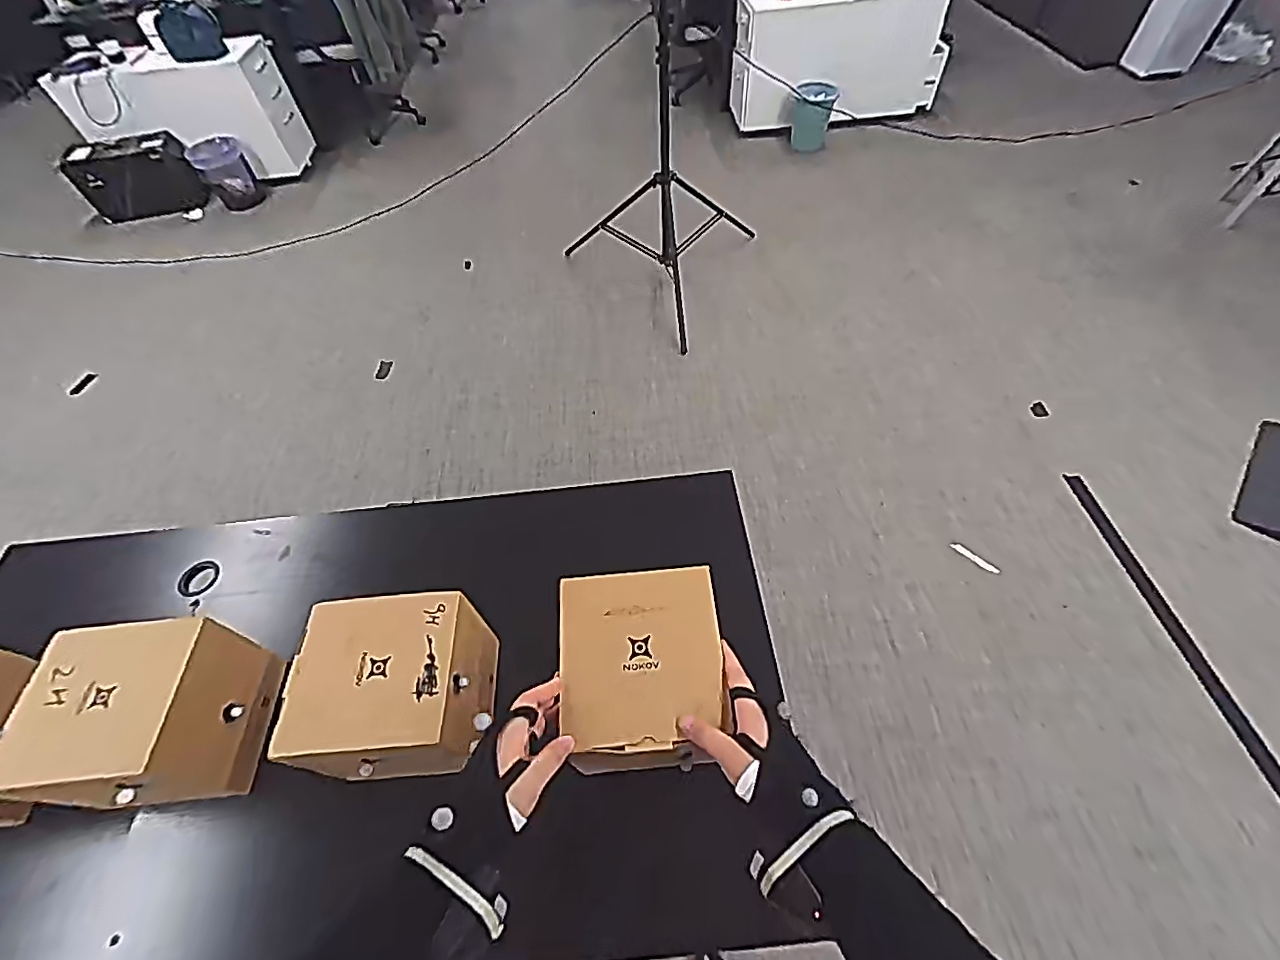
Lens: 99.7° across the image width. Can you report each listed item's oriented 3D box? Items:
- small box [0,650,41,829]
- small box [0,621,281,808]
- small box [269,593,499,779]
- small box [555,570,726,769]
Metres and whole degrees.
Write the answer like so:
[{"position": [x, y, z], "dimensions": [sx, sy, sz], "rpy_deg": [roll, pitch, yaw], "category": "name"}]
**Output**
[{"position": [-0.842, 0.315, 0.645], "dimensions": [0.168, 0.176, 0.179], "rpy_deg": [-8, 55, -1], "category": "small box"}, {"position": [-0.577, 0.284, 0.647], "dimensions": [0.179, 0.176, 0.168], "rpy_deg": [-6, 54, -1], "category": "small box"}, {"position": [-0.285, 0.253, 0.650], "dimensions": [0.179, 0.176, 0.168], "rpy_deg": [-5, 54, 1], "category": "small box"}, {"position": [-0.001, 0.223, 0.618], "dimensions": [0.168, 0.176, 0.179], "rpy_deg": [-5, 55, -1], "category": "small box"}]
